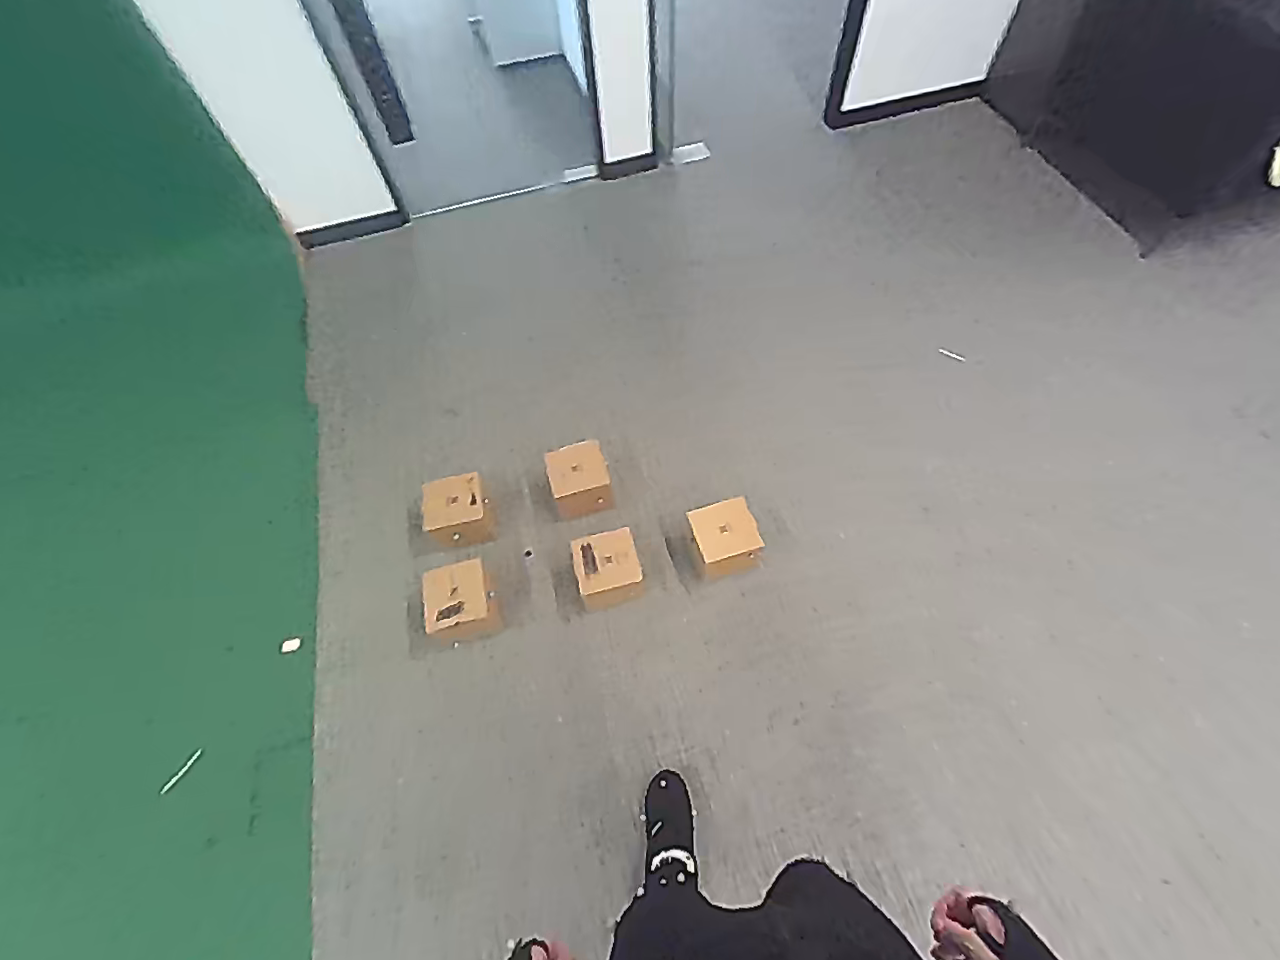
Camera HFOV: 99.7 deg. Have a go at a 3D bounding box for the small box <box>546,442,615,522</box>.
[{"bbox_3d":[-0.182,0.010,1.700,0.179,0.176,0.168,-15,60,-5],"label":"small box"}]

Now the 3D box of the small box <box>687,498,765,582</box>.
[{"bbox_3d":[0.245,0.181,1.580,0.179,0.176,0.168,-16,61,-7],"label":"small box"}]

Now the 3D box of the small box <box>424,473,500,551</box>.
[{"bbox_3d":[-0.546,0.104,1.666,0.179,0.176,0.168,-13,61,-3],"label":"small box"}]

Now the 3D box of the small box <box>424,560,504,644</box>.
[{"bbox_3d":[-0.492,0.350,1.522,0.168,0.176,0.179,-14,60,-5],"label":"small box"}]
